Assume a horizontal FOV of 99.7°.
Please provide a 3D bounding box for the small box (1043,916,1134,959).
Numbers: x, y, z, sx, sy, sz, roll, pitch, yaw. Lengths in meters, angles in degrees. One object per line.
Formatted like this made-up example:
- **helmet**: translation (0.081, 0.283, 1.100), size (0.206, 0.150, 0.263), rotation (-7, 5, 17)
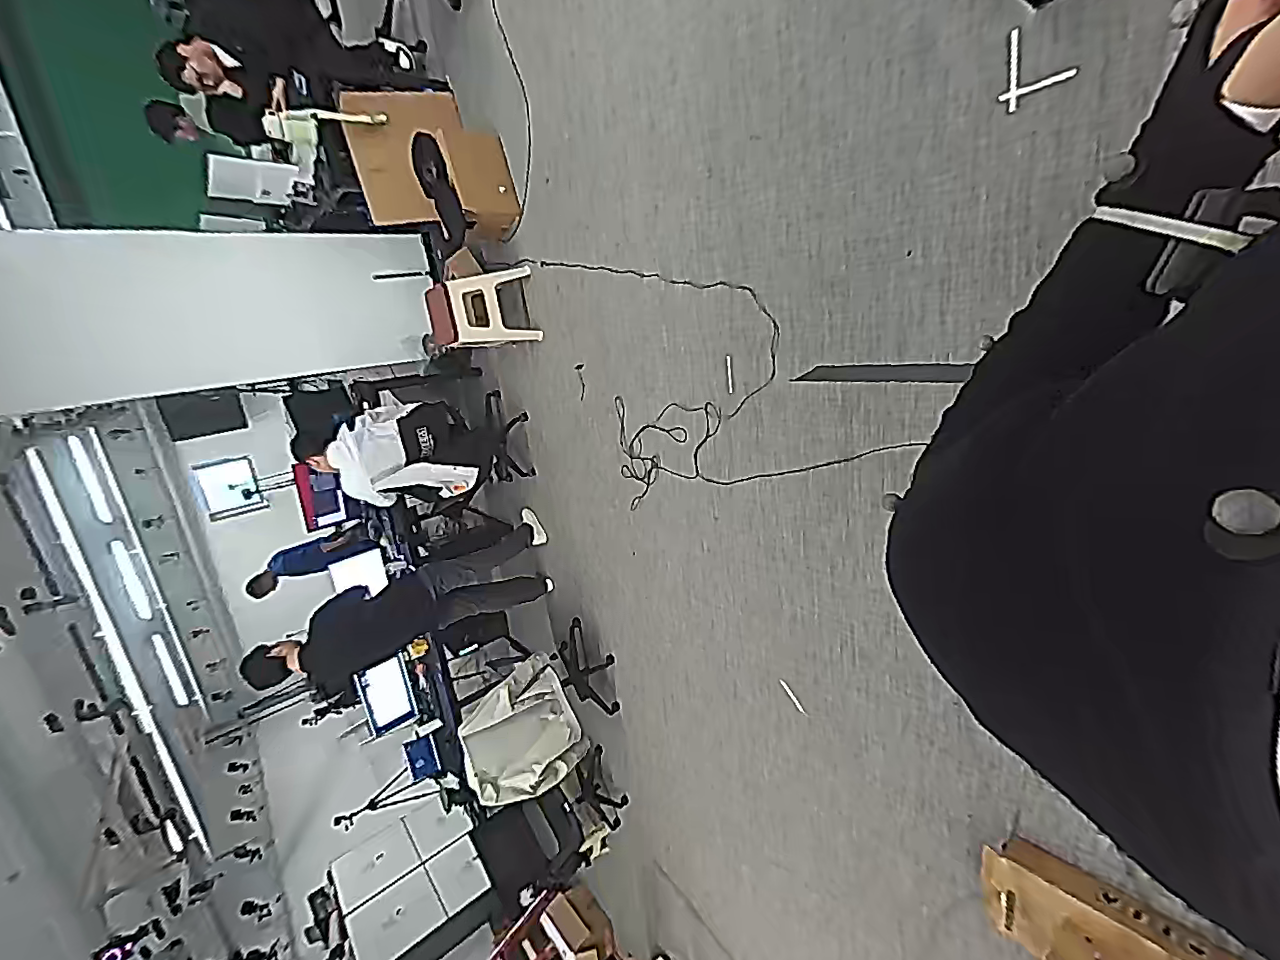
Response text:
- **small box**: translation (1.154, 1.297, 1.389), size (0.168, 0.176, 0.179), rotation (11, 115, 50)
